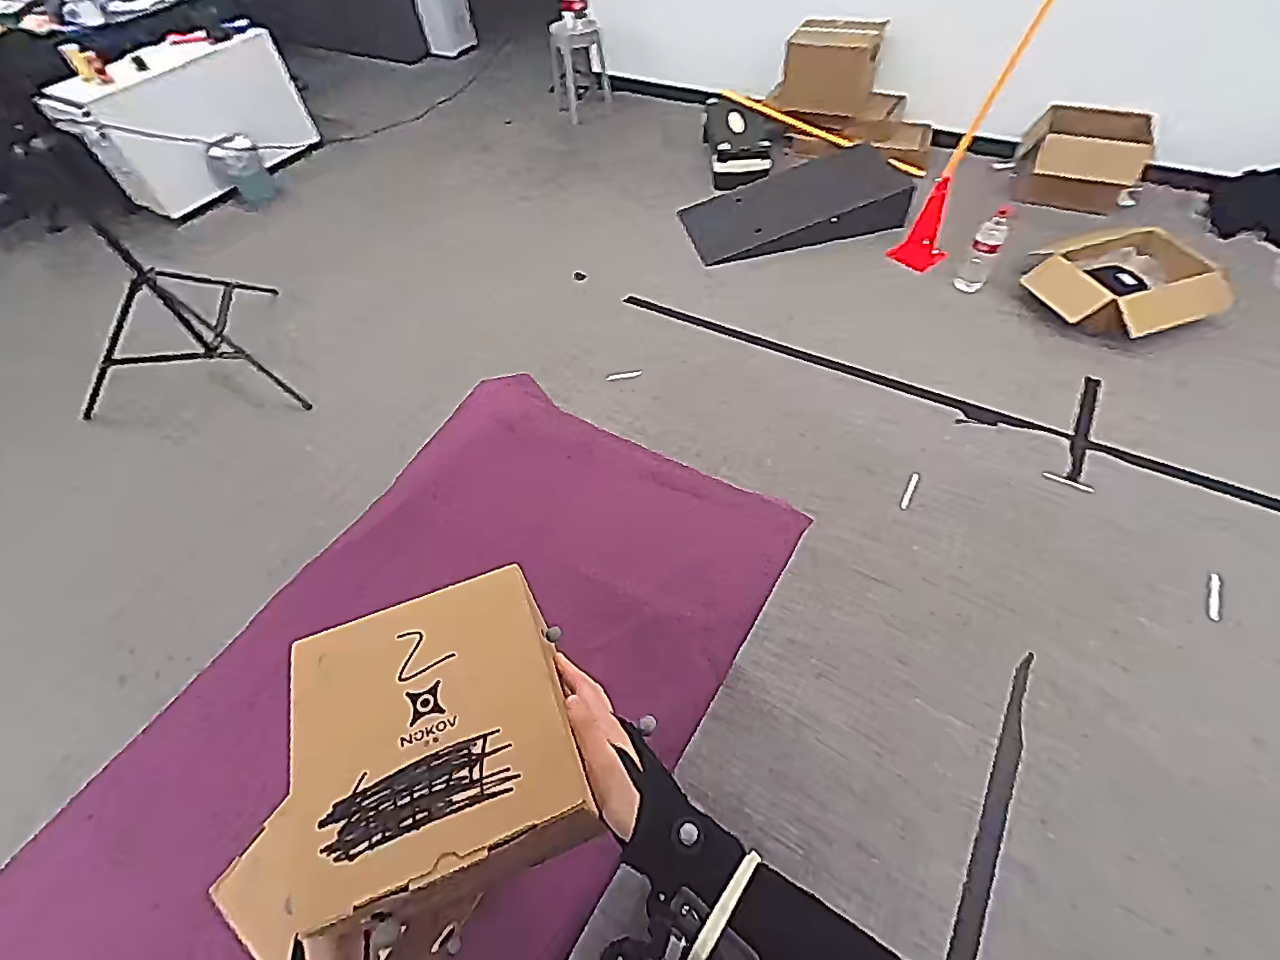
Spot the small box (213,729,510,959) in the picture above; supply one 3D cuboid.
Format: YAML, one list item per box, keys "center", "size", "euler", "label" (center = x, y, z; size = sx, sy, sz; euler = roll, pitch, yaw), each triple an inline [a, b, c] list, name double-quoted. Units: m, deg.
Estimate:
- center: [-0.264, 0.394, 0.554]
  size: [0.179, 0.176, 0.168]
  euler: [27, 62, 21]
  label: "small box"
